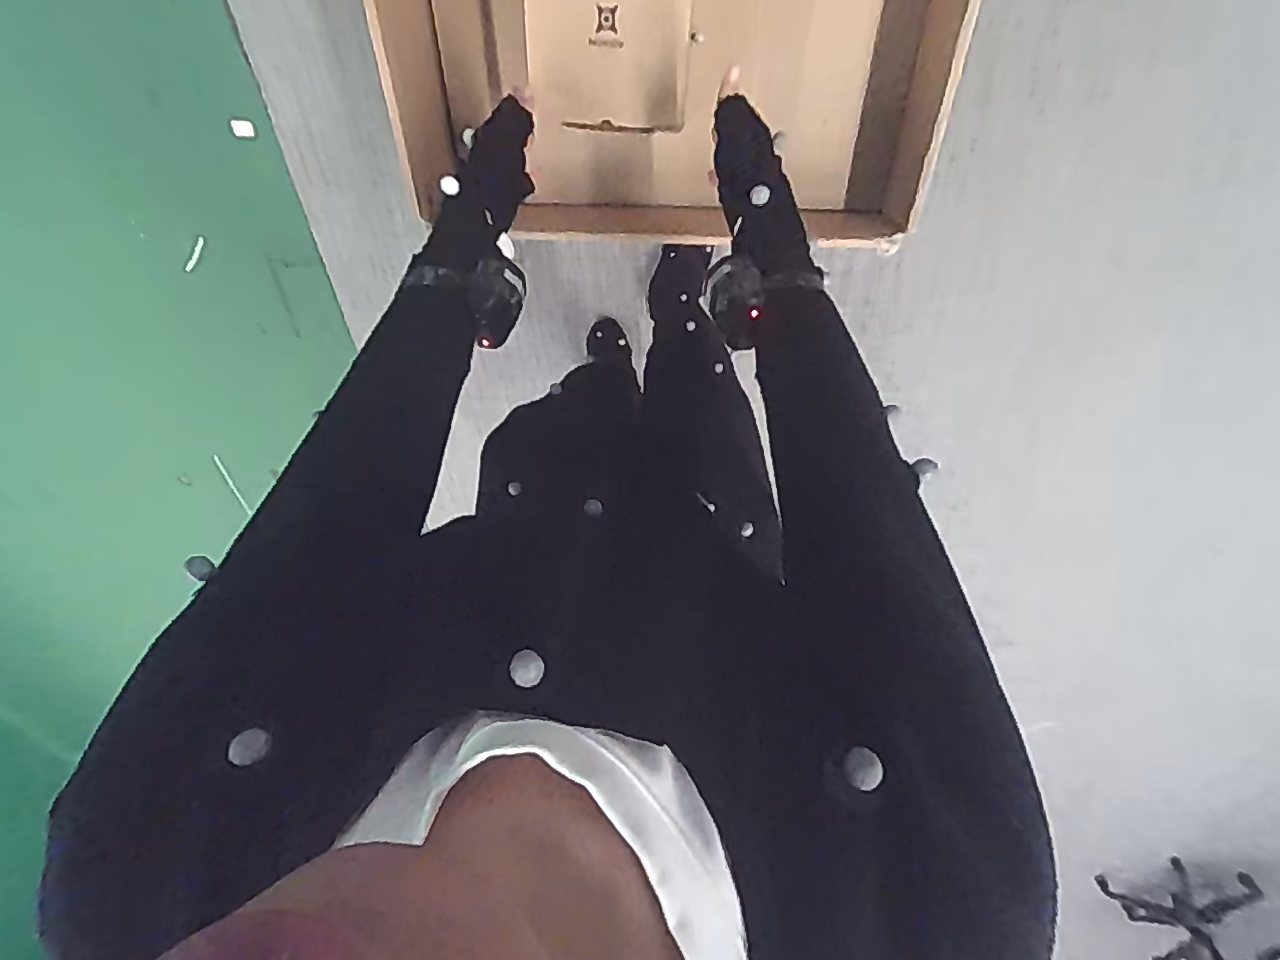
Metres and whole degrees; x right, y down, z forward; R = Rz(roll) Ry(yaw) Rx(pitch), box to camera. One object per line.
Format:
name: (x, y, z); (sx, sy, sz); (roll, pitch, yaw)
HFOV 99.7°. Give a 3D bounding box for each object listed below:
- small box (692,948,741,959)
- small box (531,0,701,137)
small box: (0.273, 1.790, 1.910); (0.179, 0.176, 0.168); (-1, 127, 12)
small box: (-0.019, -0.495, 0.602); (0.168, 0.176, 0.179); (5, 126, 3)
